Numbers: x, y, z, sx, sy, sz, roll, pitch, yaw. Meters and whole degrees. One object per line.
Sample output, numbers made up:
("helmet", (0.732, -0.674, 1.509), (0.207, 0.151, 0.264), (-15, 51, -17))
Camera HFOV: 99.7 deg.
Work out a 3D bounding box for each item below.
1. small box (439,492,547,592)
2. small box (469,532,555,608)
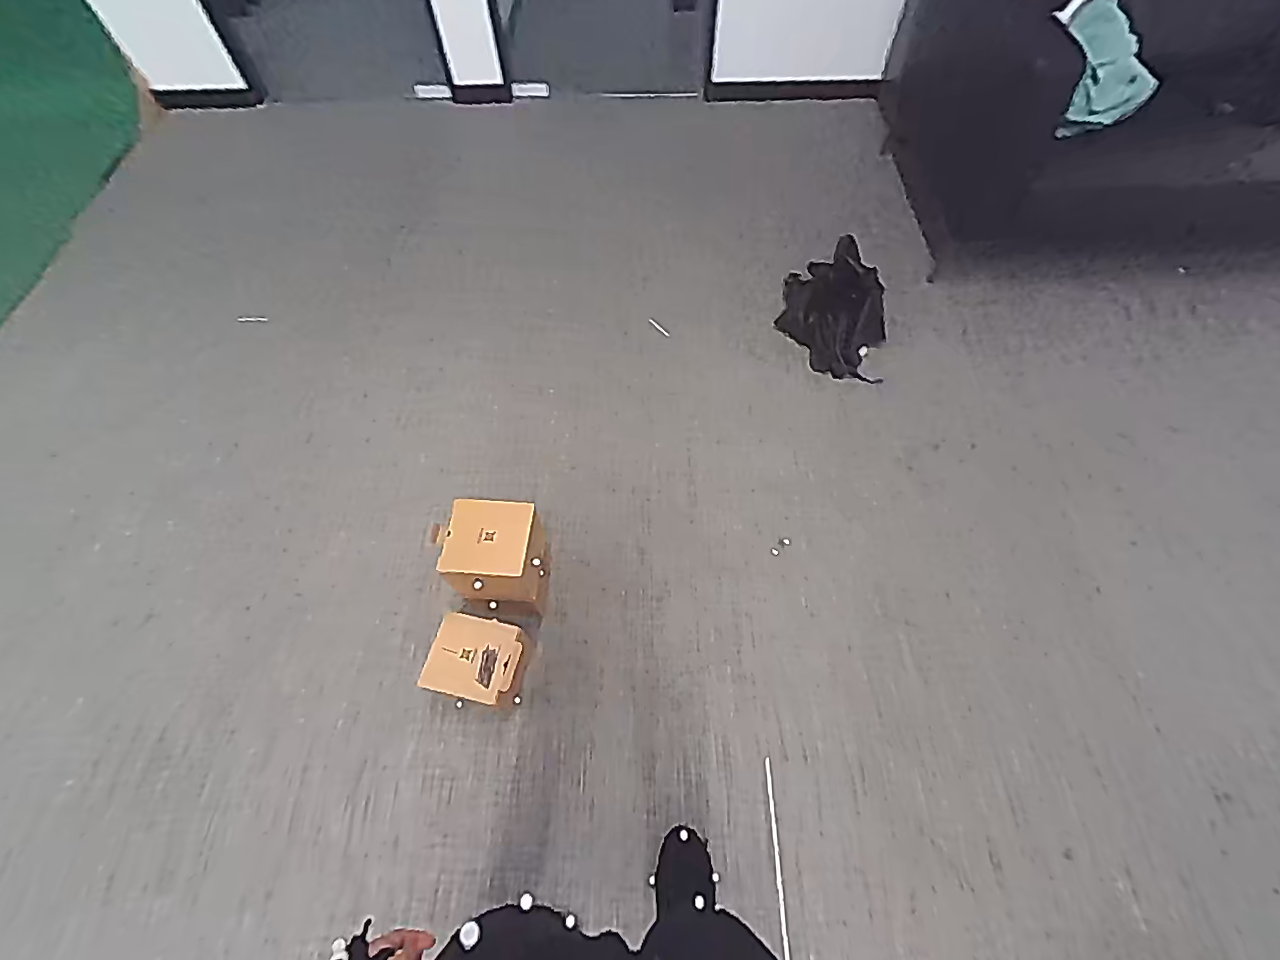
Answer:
("small box", (-0.307, 0.140, 1.177), (0.179, 0.176, 0.168), (3, 61, 3))
("small box", (-0.319, 0.208, 1.325), (0.179, 0.176, 0.168), (3, 61, 3))
